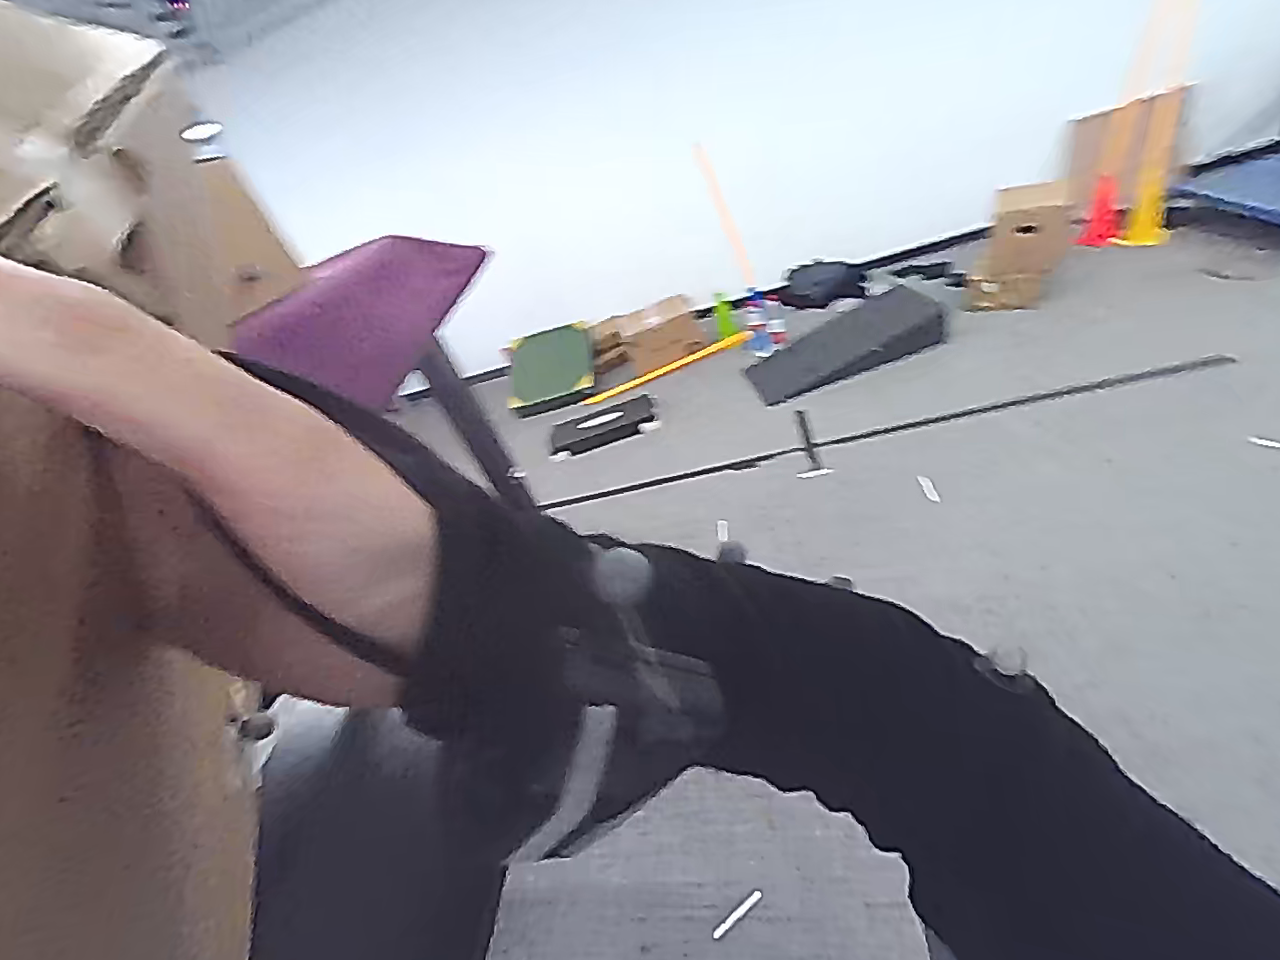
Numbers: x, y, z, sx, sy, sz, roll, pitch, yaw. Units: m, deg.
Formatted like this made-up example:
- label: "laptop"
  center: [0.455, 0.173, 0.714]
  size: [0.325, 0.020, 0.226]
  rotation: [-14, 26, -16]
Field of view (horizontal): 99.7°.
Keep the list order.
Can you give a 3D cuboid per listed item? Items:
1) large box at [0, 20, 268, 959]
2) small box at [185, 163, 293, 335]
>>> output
- label: "large box"
  center: [-0.335, 0.065, 0.112]
  size: [0.408, 0.320, 0.320]
  rotation: [-4, 44, -29]
- label: "small box"
  center: [-0.597, -0.279, 0.700]
  size: [0.168, 0.176, 0.179]
  rotation: [-7, 37, 23]
